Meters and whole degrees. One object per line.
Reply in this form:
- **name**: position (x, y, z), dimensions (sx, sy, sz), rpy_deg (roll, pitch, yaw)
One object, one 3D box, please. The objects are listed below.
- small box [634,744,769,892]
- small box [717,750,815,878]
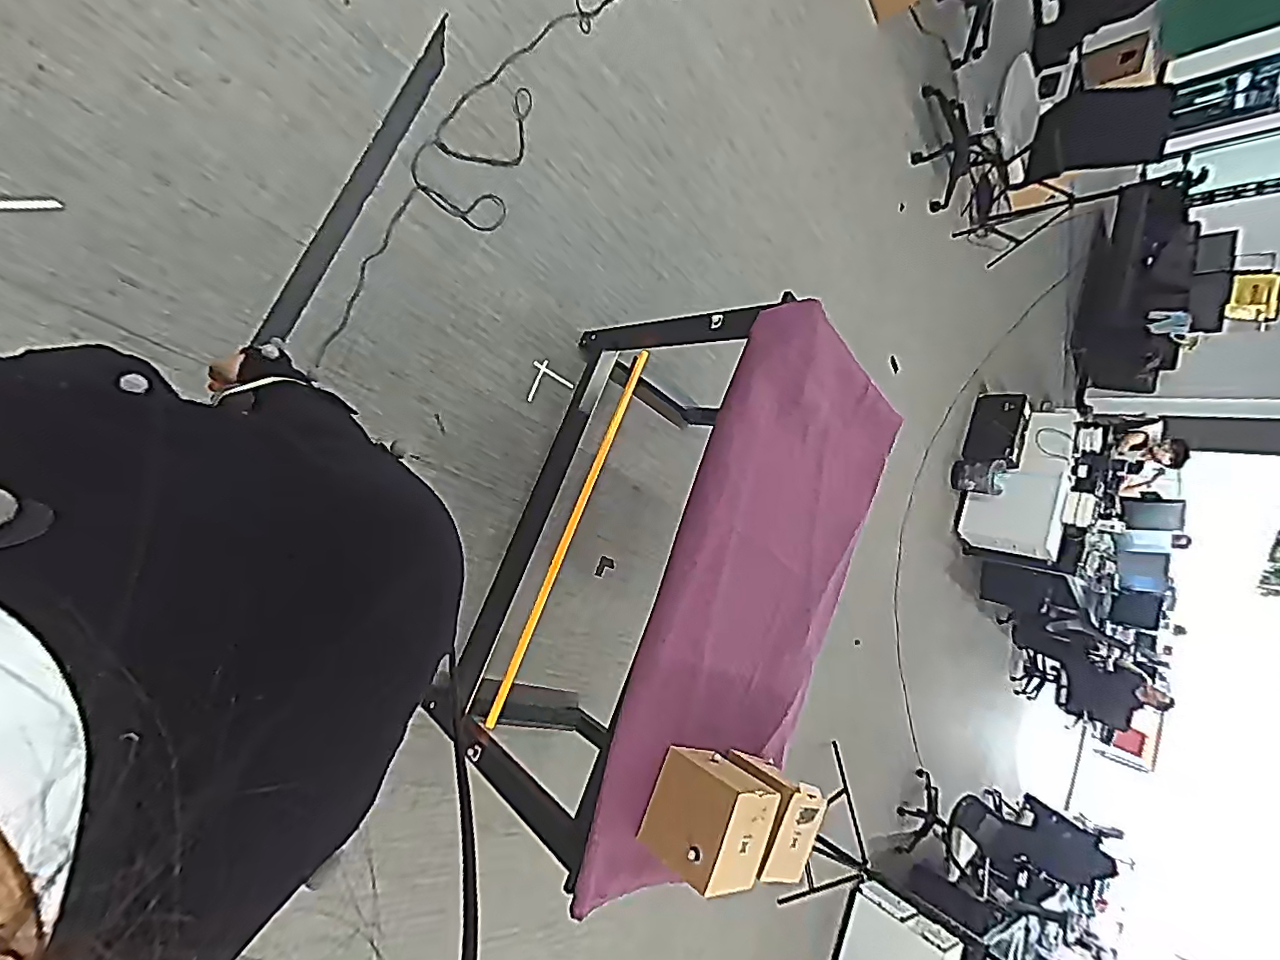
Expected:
- **small box**: position (0.113, 0.634, 1.029), dimensions (0.168, 0.176, 0.179), rpy_deg (34, 73, -43)
- **small box**: position (0.241, 0.711, 1.163), dimensions (0.168, 0.176, 0.179), rpy_deg (38, 72, -38)
